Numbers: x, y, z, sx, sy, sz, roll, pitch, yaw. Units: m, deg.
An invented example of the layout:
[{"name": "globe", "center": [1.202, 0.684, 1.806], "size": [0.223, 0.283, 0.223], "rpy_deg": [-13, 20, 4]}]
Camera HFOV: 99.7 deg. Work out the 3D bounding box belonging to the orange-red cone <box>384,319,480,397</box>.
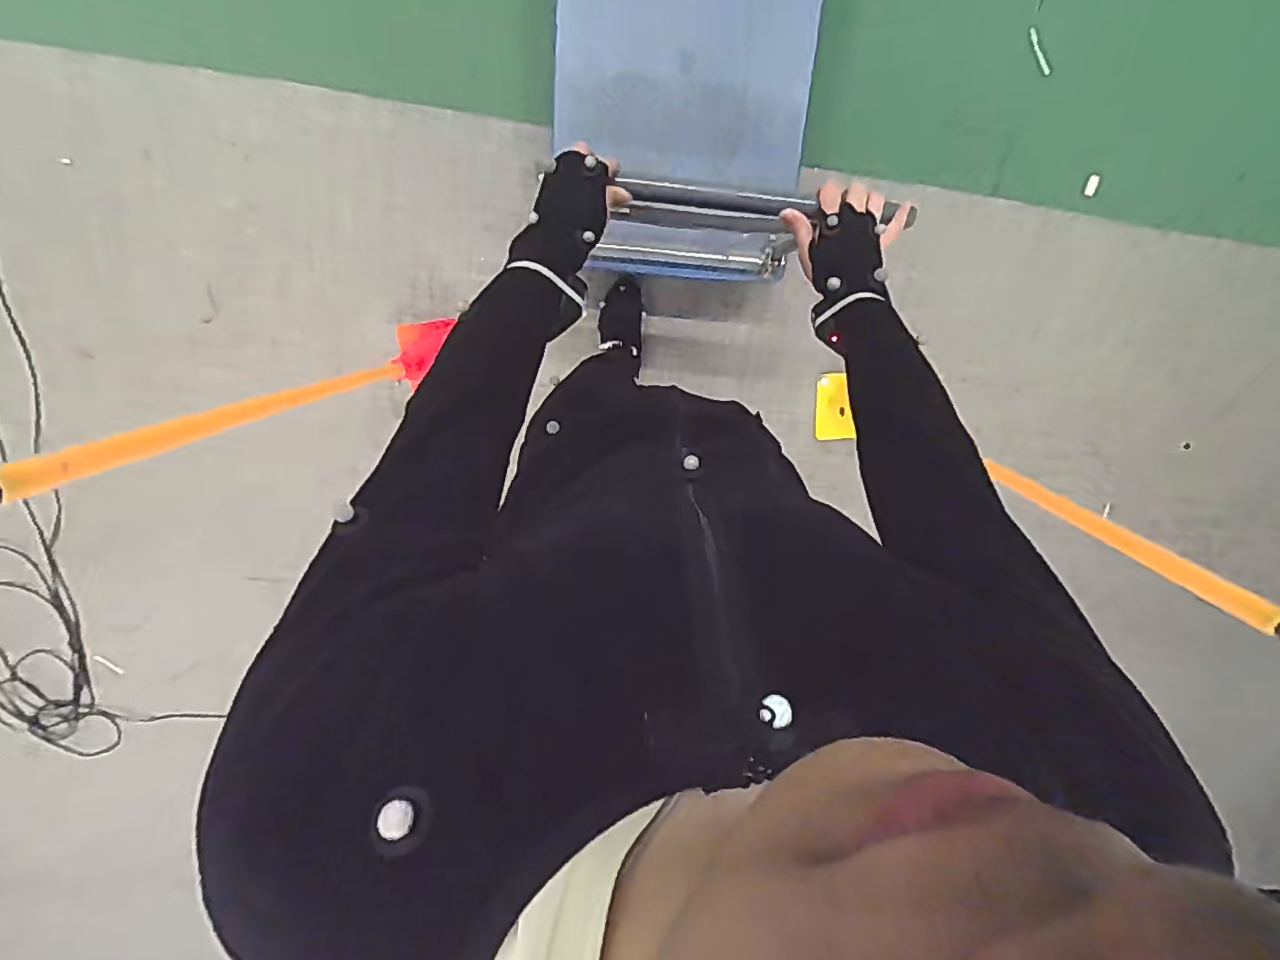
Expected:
[{"name": "orange-red cone", "center": [-0.541, -0.286, 1.323], "size": [0.199, 0.360, 0.198], "rpy_deg": [-8, 106, 0]}]
